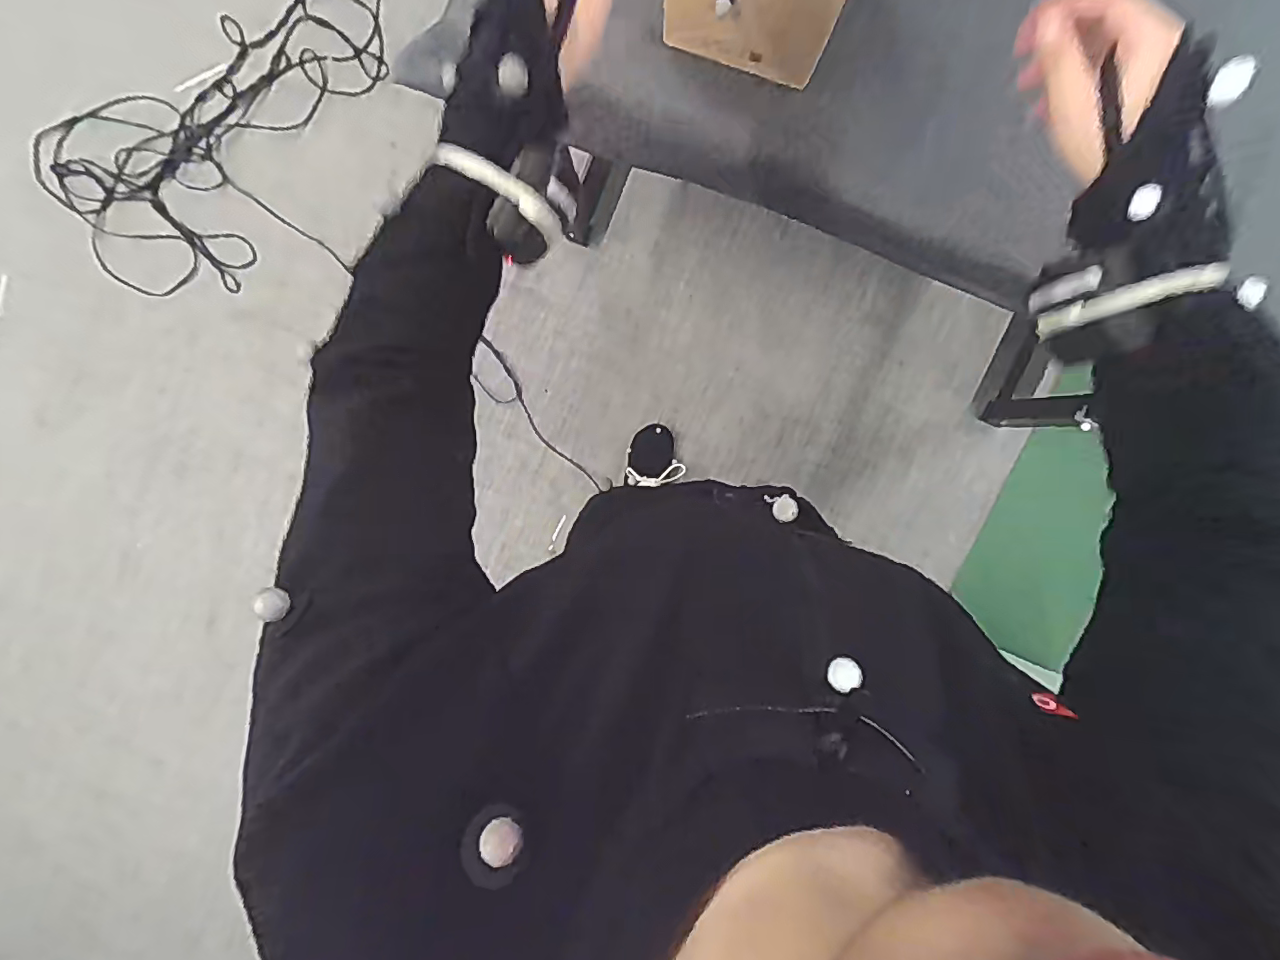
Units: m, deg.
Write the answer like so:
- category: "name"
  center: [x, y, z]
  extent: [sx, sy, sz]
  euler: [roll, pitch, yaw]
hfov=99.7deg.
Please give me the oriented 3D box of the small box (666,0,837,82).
- category: "small box"
  center: [0.126, -0.532, 0.512]
  extent: [0.168, 0.176, 0.179]
  euler: [18, 95, -1]

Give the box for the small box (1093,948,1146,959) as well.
- category: "small box"
  center: [0.603, 0.676, 0.594]
  extent: [0.179, 0.176, 0.168]
  euler: [19, 95, -2]
